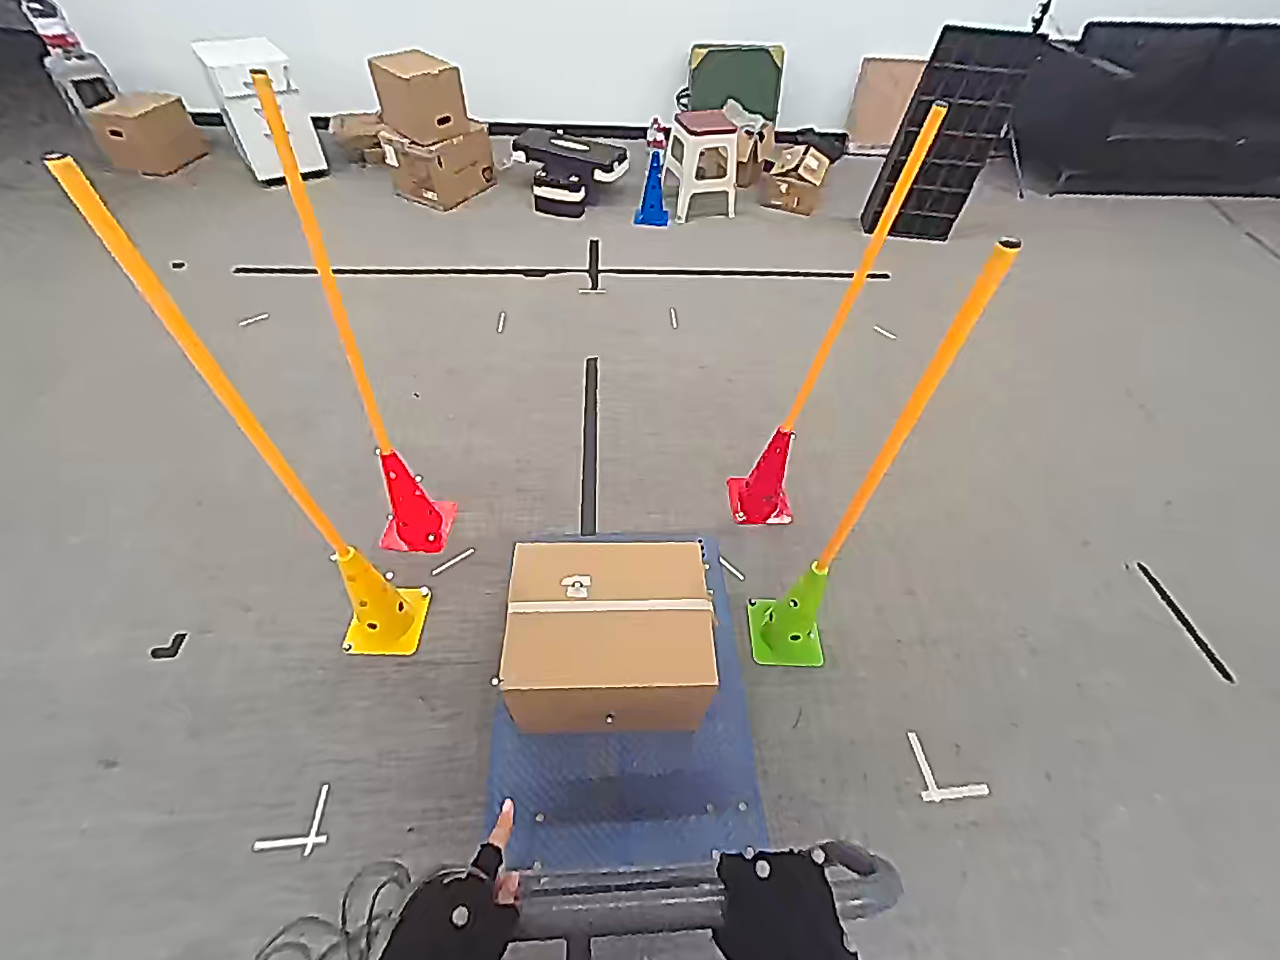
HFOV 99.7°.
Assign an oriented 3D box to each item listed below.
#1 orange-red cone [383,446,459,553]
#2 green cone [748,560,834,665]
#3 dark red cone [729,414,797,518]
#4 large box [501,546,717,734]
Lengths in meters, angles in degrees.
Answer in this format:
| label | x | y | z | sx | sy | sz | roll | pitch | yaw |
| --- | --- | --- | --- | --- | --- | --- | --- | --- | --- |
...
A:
| label | x | y | z | sx | sy | sz | roll | pitch | yaw |
| --- | --- | --- | --- | --- | --- | --- | --- | --- | --- |
| orange-red cone | -0.694 | 0.033 | 1.622 | 0.198 | 0.360 | 0.199 | 6 | 48 | 0 |
| green cone | 0.433 | 0.328 | 1.444 | 0.202 | 0.368 | 0.200 | 3 | 50 | -3 |
| dark red cone | 0.430 | -0.054 | 1.744 | 0.201 | 0.394 | 0.202 | 1 | 50 | -6 |
| large box | -0.065 | 0.360 | 1.198 | 0.408 | 0.320 | 0.320 | 0 | 50 | -3 |
